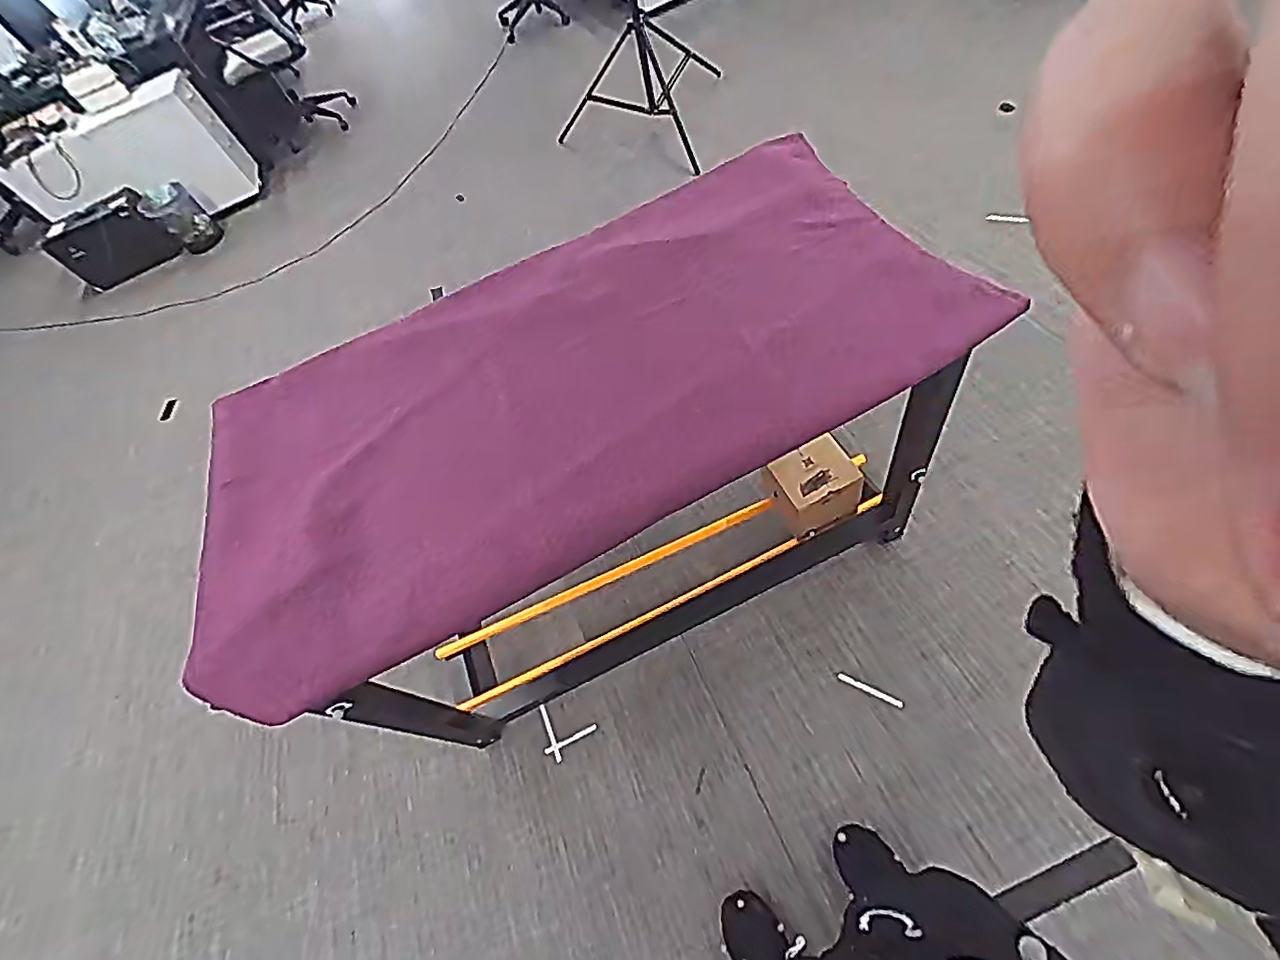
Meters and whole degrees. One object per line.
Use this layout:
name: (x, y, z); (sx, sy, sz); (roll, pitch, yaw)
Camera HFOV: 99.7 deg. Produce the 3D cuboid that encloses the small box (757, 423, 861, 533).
small box: (0.394, 0.005, 1.272); (0.168, 0.176, 0.179); (-26, 55, -1)
